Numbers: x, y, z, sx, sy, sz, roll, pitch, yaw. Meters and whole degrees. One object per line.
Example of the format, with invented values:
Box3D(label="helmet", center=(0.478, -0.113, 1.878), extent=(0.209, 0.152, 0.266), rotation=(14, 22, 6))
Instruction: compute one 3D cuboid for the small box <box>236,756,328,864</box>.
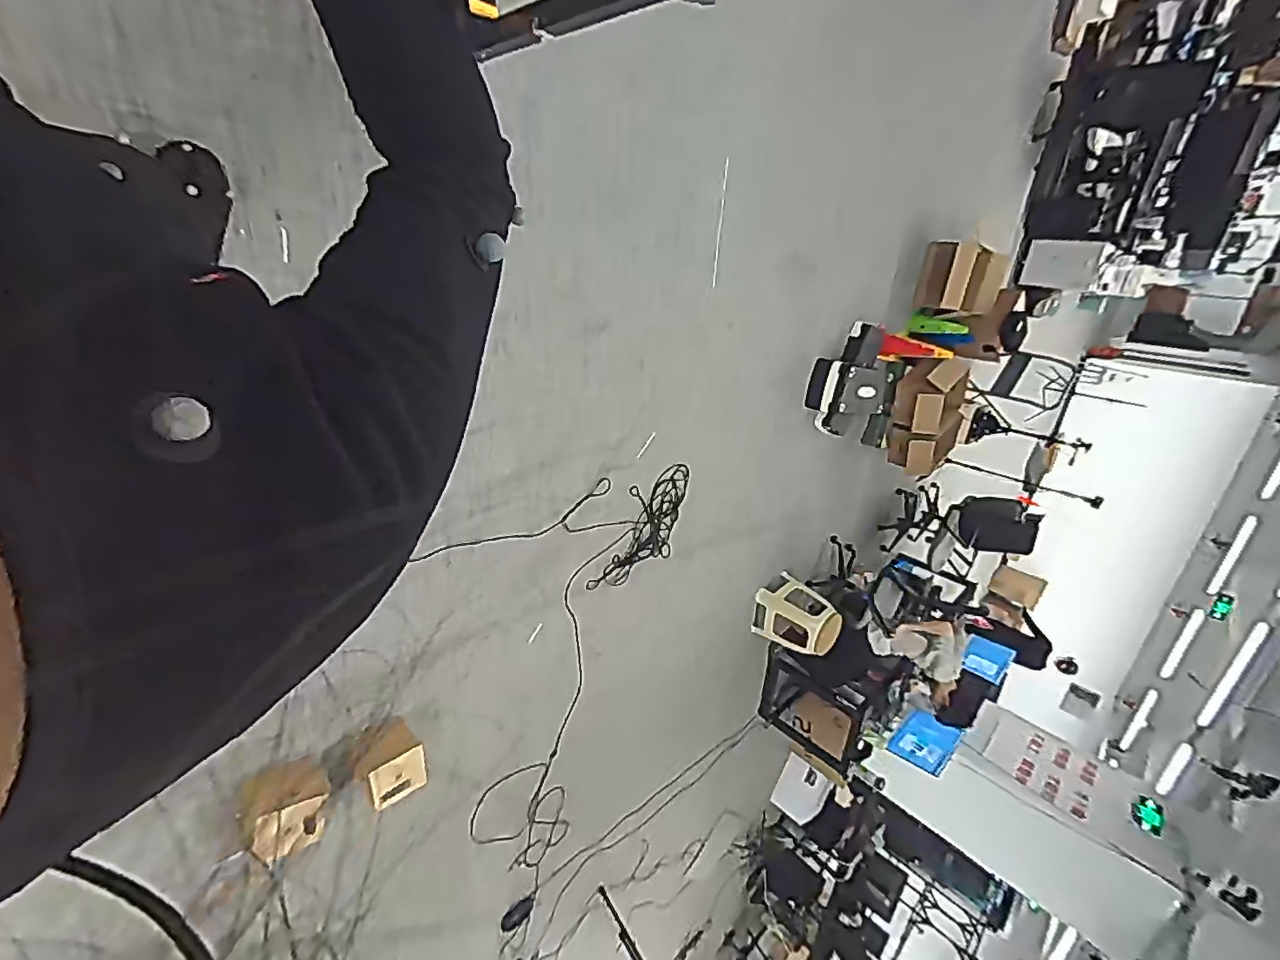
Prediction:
Box3D(label="small box", center=(-1.025, 0.928, 1.544), extent=(0.179, 0.176, 0.168), rotation=(3, 106, -47))
